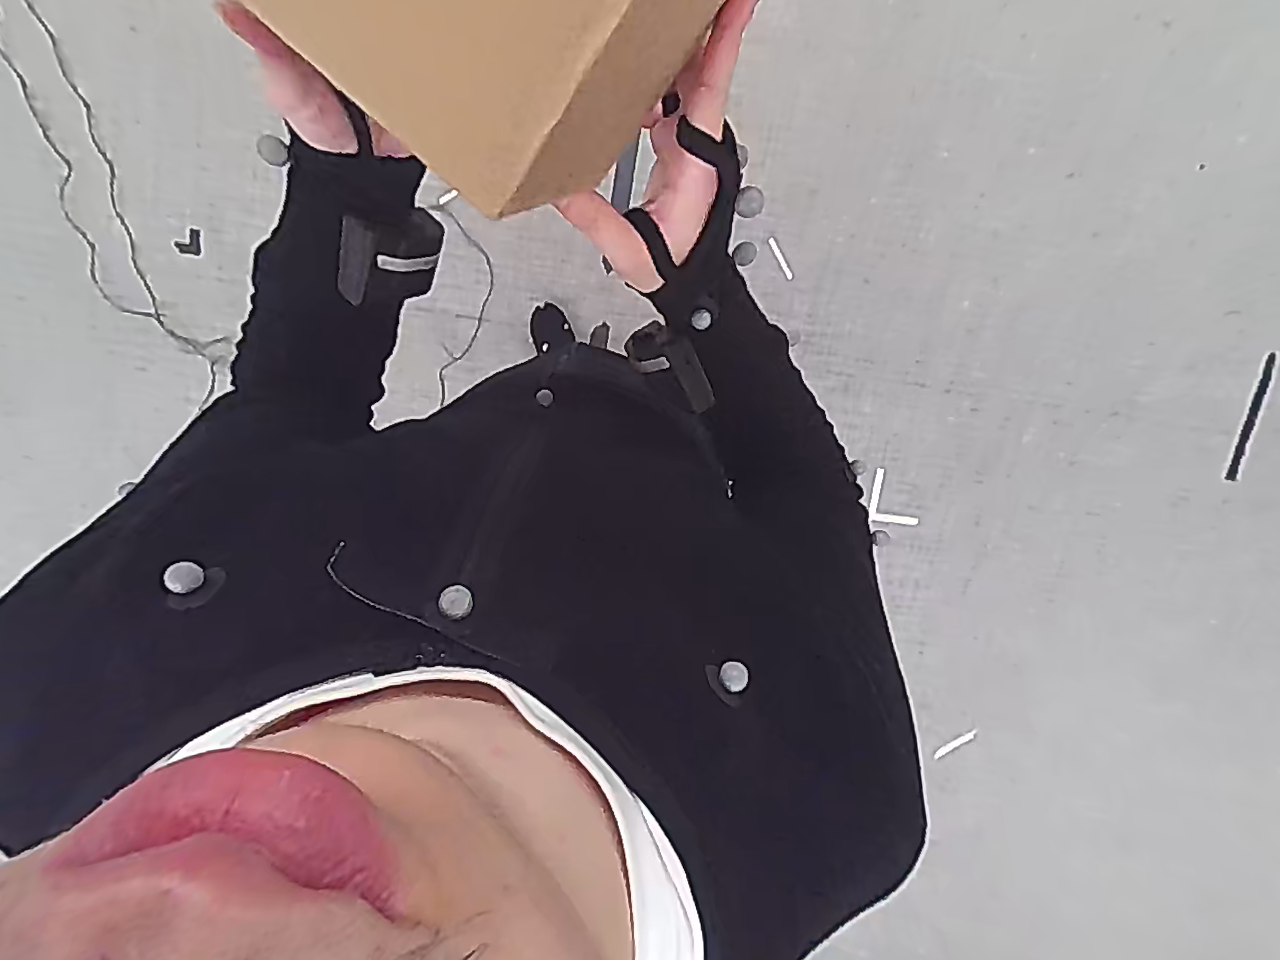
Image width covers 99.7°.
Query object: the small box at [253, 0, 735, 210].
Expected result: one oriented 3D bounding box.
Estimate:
[{"bbox_3d":[-0.038,-0.218,0.163,0.168,0.176,0.179,38,118,-15],"label":"small box"}]
